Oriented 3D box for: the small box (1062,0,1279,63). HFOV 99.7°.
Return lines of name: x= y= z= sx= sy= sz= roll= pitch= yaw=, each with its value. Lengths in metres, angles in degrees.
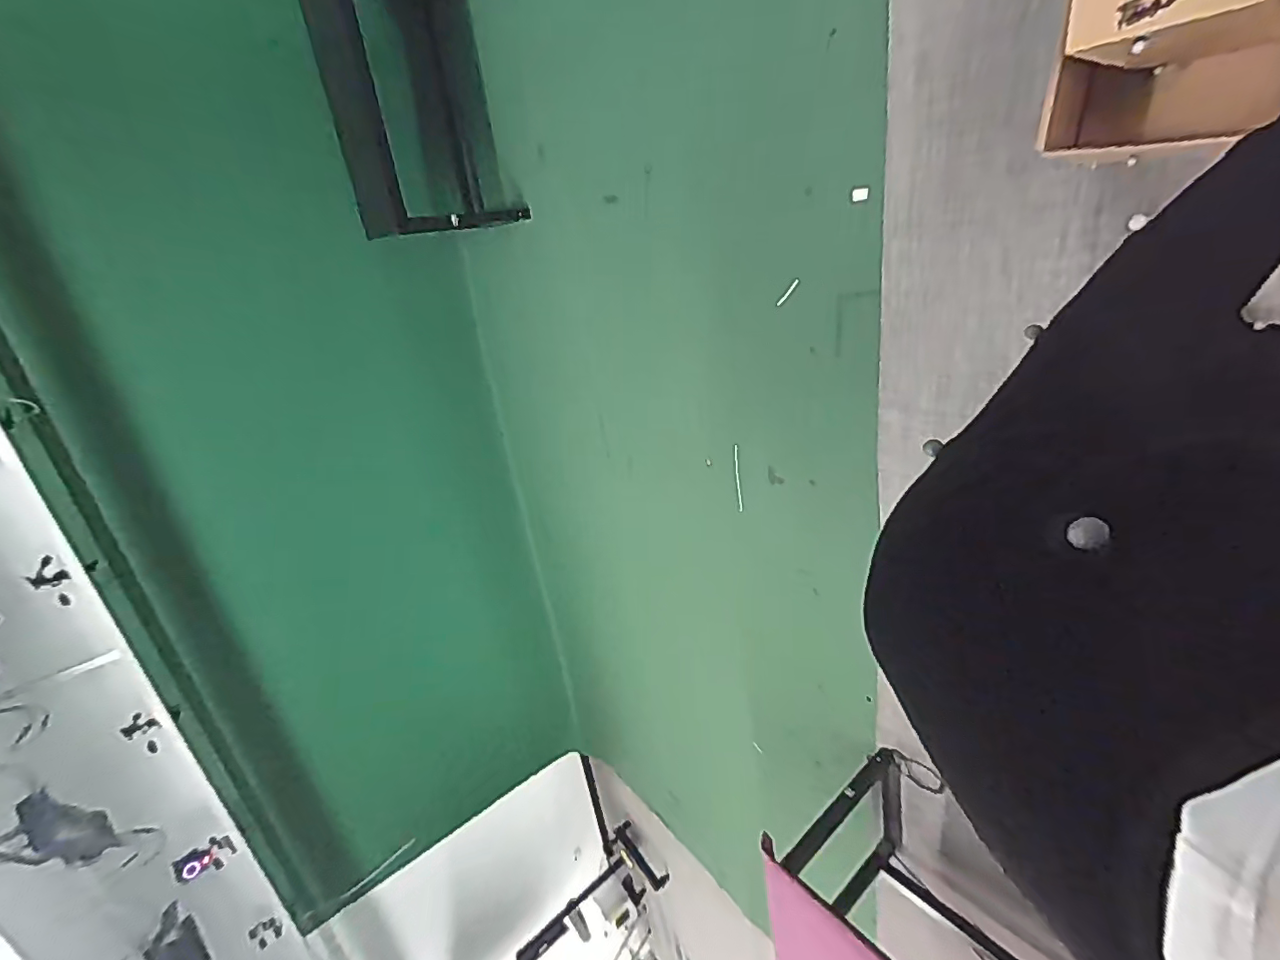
small box: x=0.590 y=-0.574 z=0.570 sx=0.168 sy=0.176 sz=0.179 roll=24 pitch=128 yaw=48
